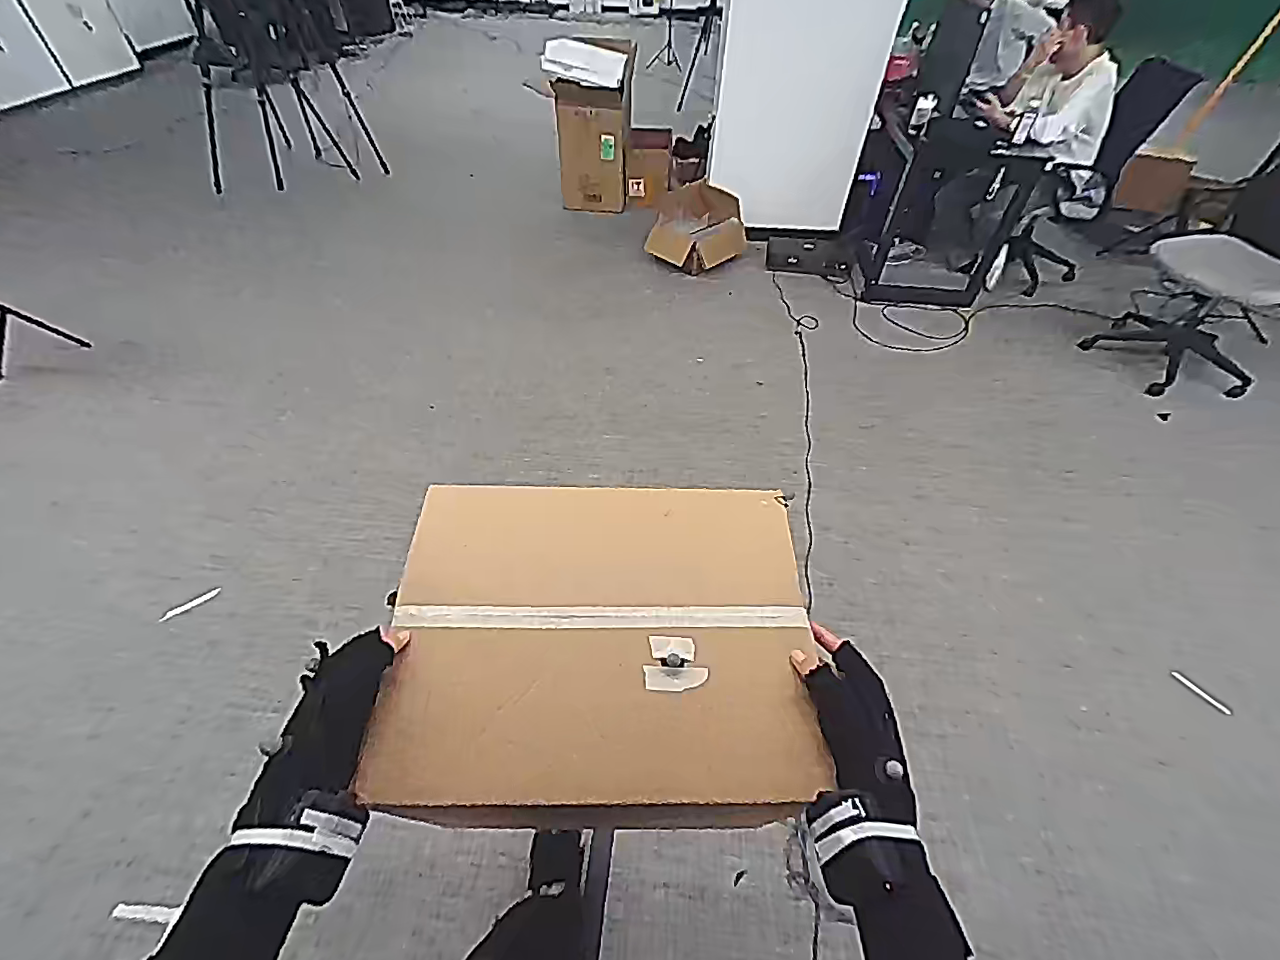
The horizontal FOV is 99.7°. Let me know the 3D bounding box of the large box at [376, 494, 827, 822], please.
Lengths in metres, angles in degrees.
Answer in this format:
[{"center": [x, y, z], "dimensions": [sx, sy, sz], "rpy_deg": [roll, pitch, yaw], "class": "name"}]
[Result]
[{"center": [-0.041, 0.230, 0.675], "dimensions": [0.408, 0.320, 0.320], "rpy_deg": [1, 55, -3], "class": "large box"}]
